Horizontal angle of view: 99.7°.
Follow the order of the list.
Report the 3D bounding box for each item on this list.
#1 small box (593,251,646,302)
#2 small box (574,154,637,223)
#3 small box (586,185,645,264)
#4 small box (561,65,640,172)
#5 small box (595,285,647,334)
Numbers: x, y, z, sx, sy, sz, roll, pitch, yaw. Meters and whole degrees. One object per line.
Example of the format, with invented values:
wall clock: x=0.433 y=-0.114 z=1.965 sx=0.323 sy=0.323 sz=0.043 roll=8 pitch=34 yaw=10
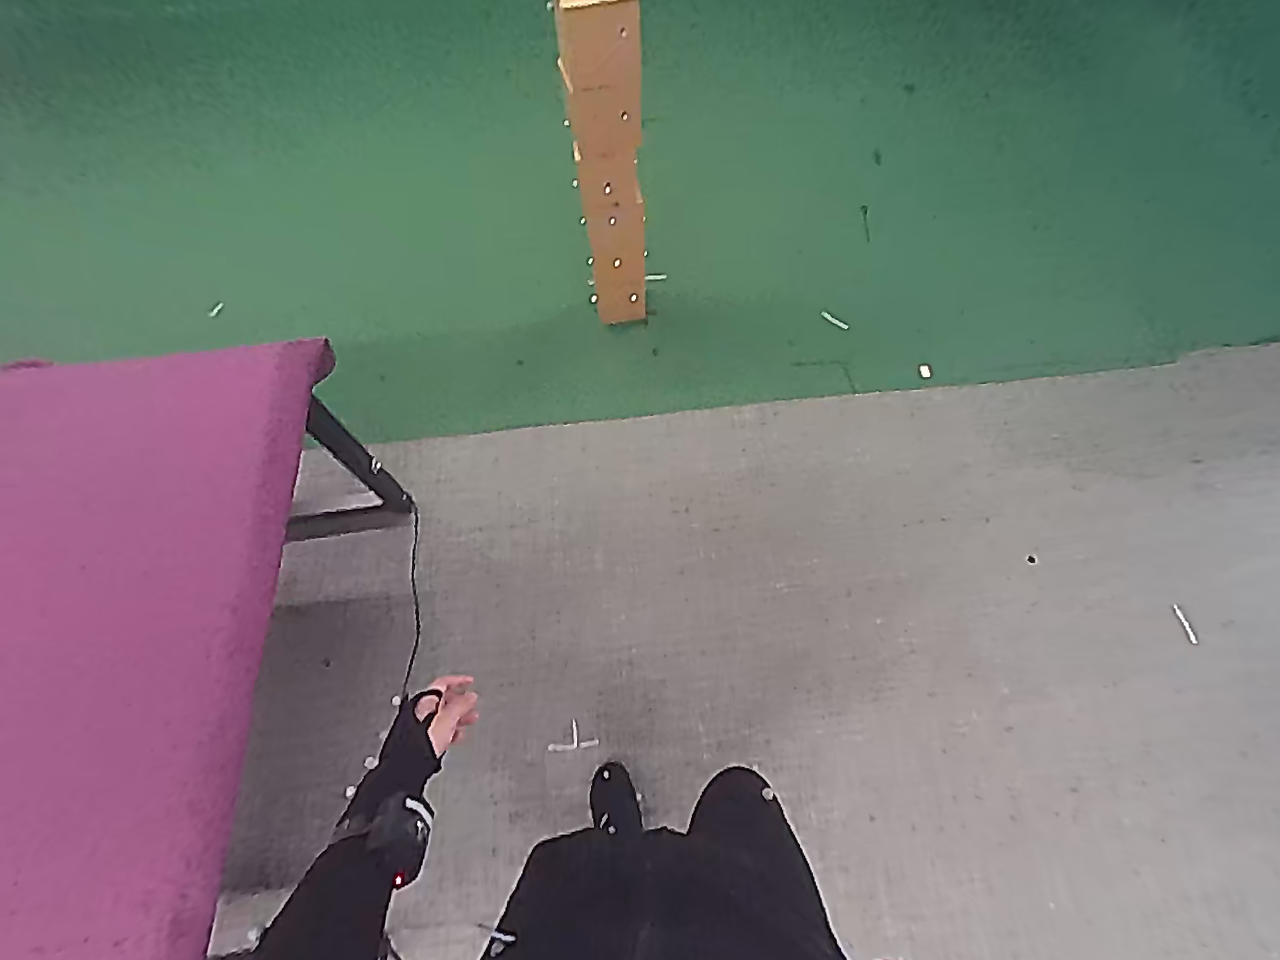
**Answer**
small box: x=-0.075 y=-0.749 z=1.894 sx=0.179 sy=0.176 sz=0.168 roll=-8 pitch=63 yaw=-3
small box: x=-0.101 y=-0.885 z=1.598 sx=0.168 sy=0.176 sz=0.179 roll=-7 pitch=64 yaw=-2
small box: x=-0.084 y=-0.822 z=1.748 sx=0.179 sy=0.176 sz=0.168 roll=-10 pitch=63 yaw=-4
small box: x=-0.101 y=-0.970 z=1.458 sx=0.179 sy=0.176 sz=0.168 roll=-15 pitch=63 yaw=-5
small box: x=-0.073 y=-0.674 z=2.037 sx=0.179 sy=0.176 sz=0.168 roll=-9 pitch=62 yaw=-4
